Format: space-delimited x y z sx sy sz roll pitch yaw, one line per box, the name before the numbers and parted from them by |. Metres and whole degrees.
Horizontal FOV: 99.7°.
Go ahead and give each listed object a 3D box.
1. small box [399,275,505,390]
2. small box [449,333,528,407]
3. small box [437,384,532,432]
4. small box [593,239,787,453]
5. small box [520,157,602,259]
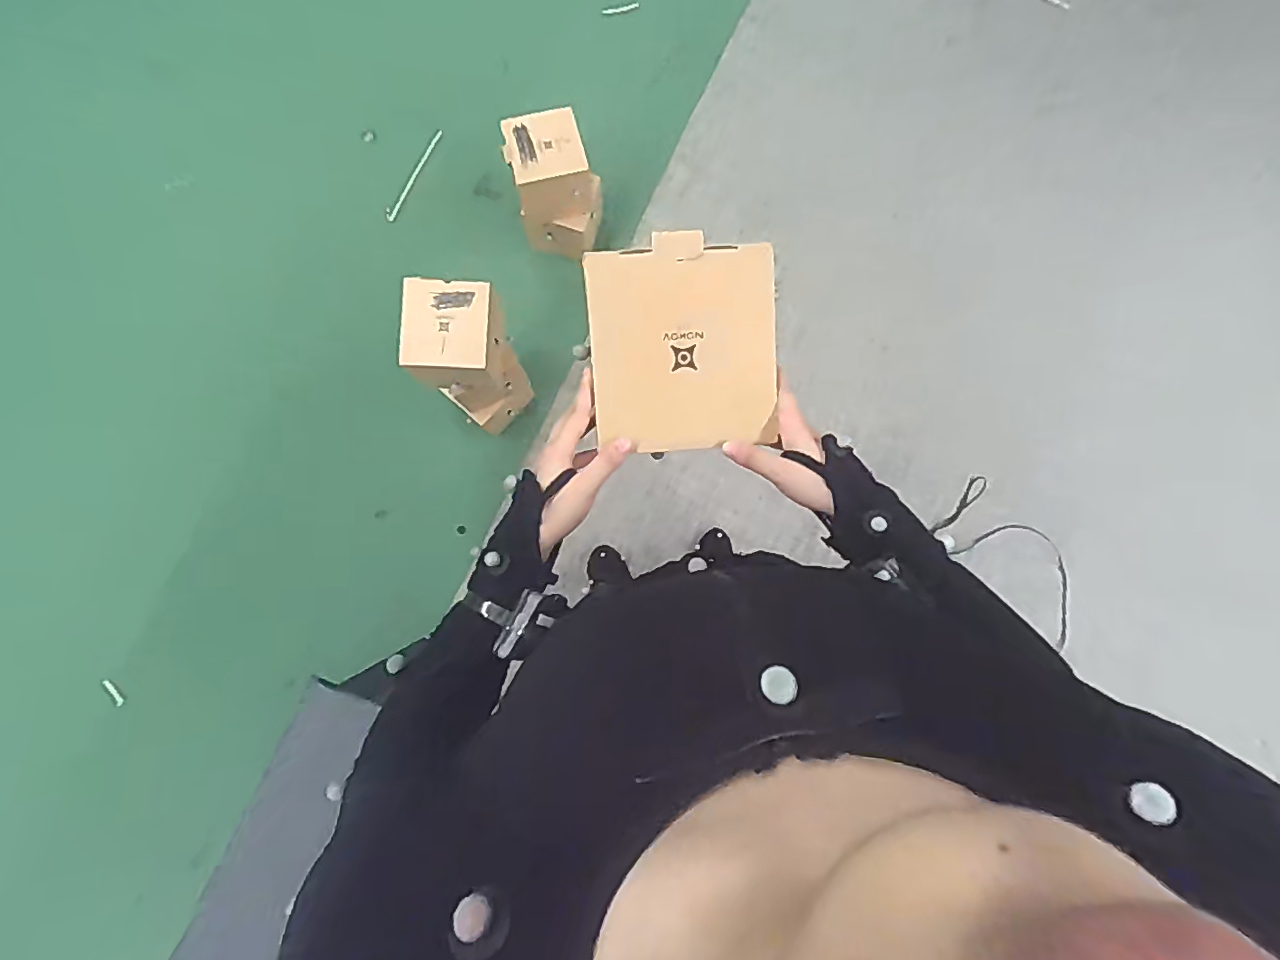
small box | -0.374 -0.295 1.106 0.168 0.176 0.179 2 85 -4
small box | -0.379 -0.286 1.270 0.168 0.176 0.179 -28 86 -7
small box | -0.407 -0.244 1.427 0.179 0.176 0.168 41 83 2
small box | 0.042 -0.127 0.547 0.168 0.176 0.179 -5 99 -3
small box | -0.210 -0.739 1.487 0.179 0.176 0.168 16 83 -1
